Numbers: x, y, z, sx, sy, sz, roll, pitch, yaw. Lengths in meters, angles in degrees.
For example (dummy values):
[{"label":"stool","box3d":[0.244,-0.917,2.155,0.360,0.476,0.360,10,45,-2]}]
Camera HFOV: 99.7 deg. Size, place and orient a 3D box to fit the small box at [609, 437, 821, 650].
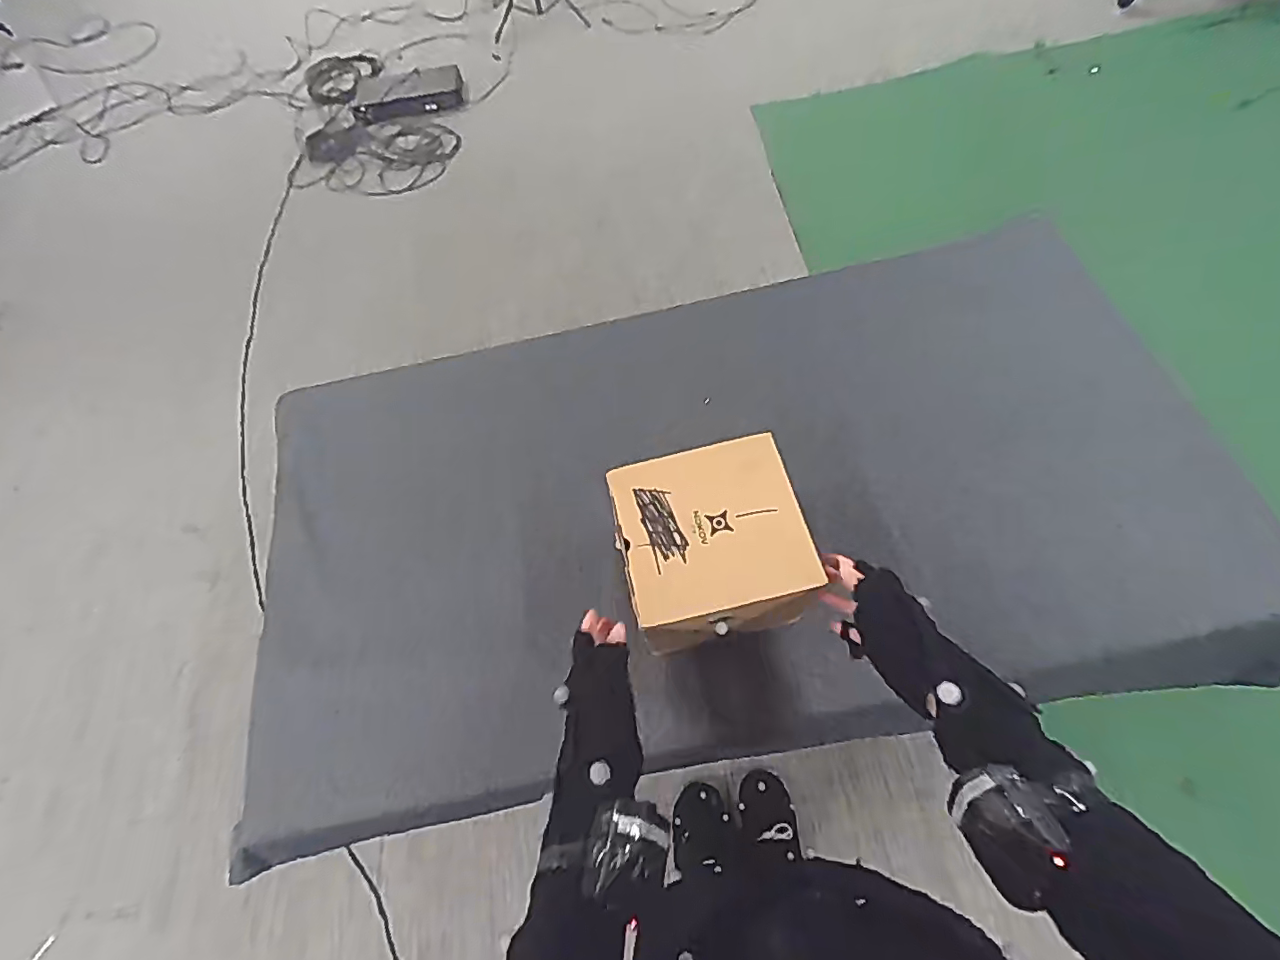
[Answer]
[{"label":"small box","box3d":[0.075,0.079,0.599,0.179,0.176,0.168,-13,64,-1]}]
